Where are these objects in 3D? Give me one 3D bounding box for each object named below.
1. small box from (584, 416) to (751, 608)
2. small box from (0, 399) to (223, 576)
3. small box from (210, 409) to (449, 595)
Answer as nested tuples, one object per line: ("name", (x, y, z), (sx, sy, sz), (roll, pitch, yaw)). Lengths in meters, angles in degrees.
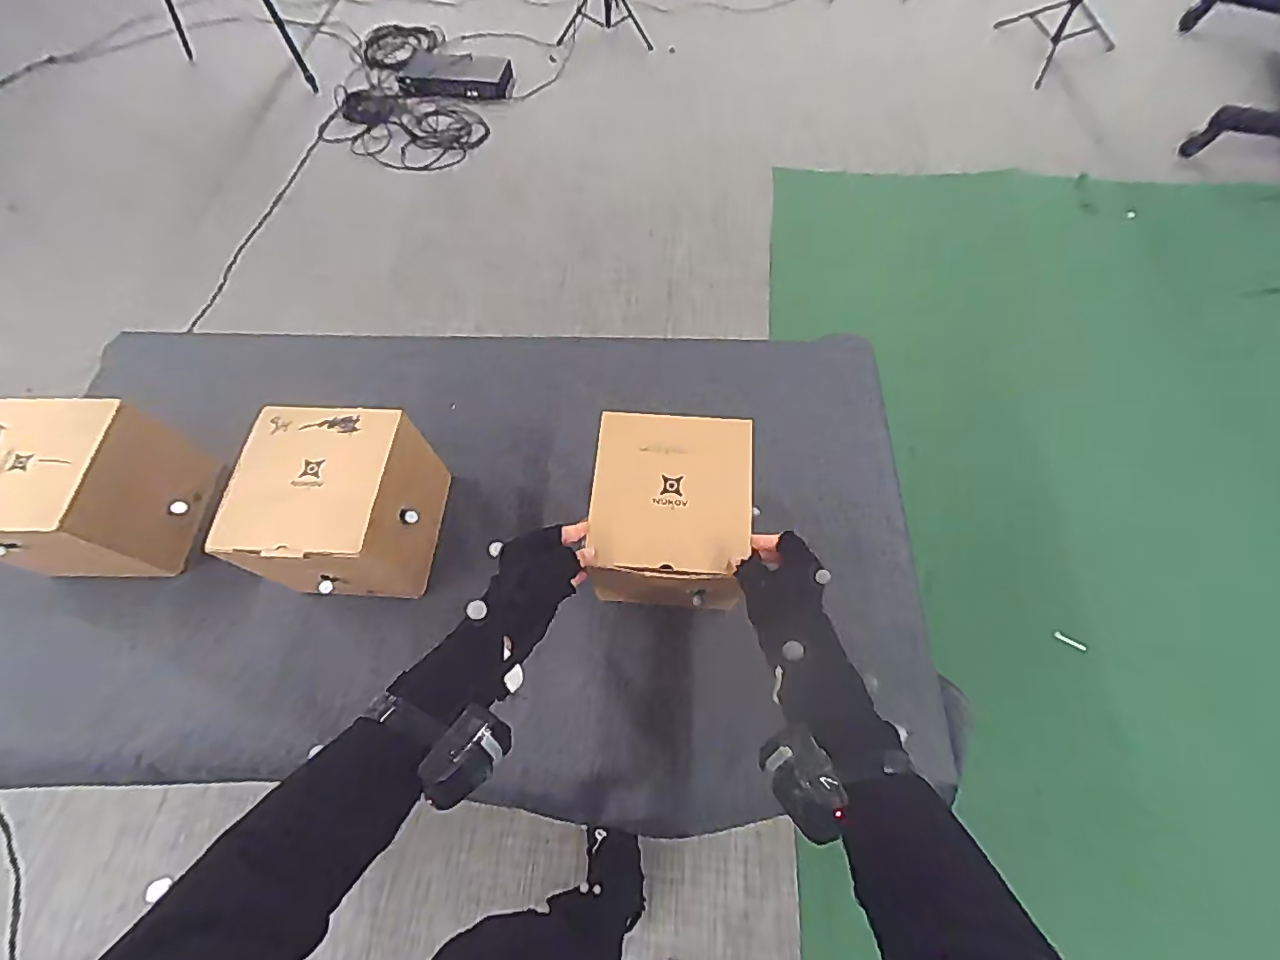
("small box", (0.034, 0.046, 0.631), (0.168, 0.176, 0.179), (4, 66, 2))
("small box", (-0.679, 0.016, 0.665), (0.179, 0.176, 0.168), (0, 64, 0))
("small box", (-0.348, 0.034, 0.650), (0.168, 0.176, 0.179), (2, 64, 3))
